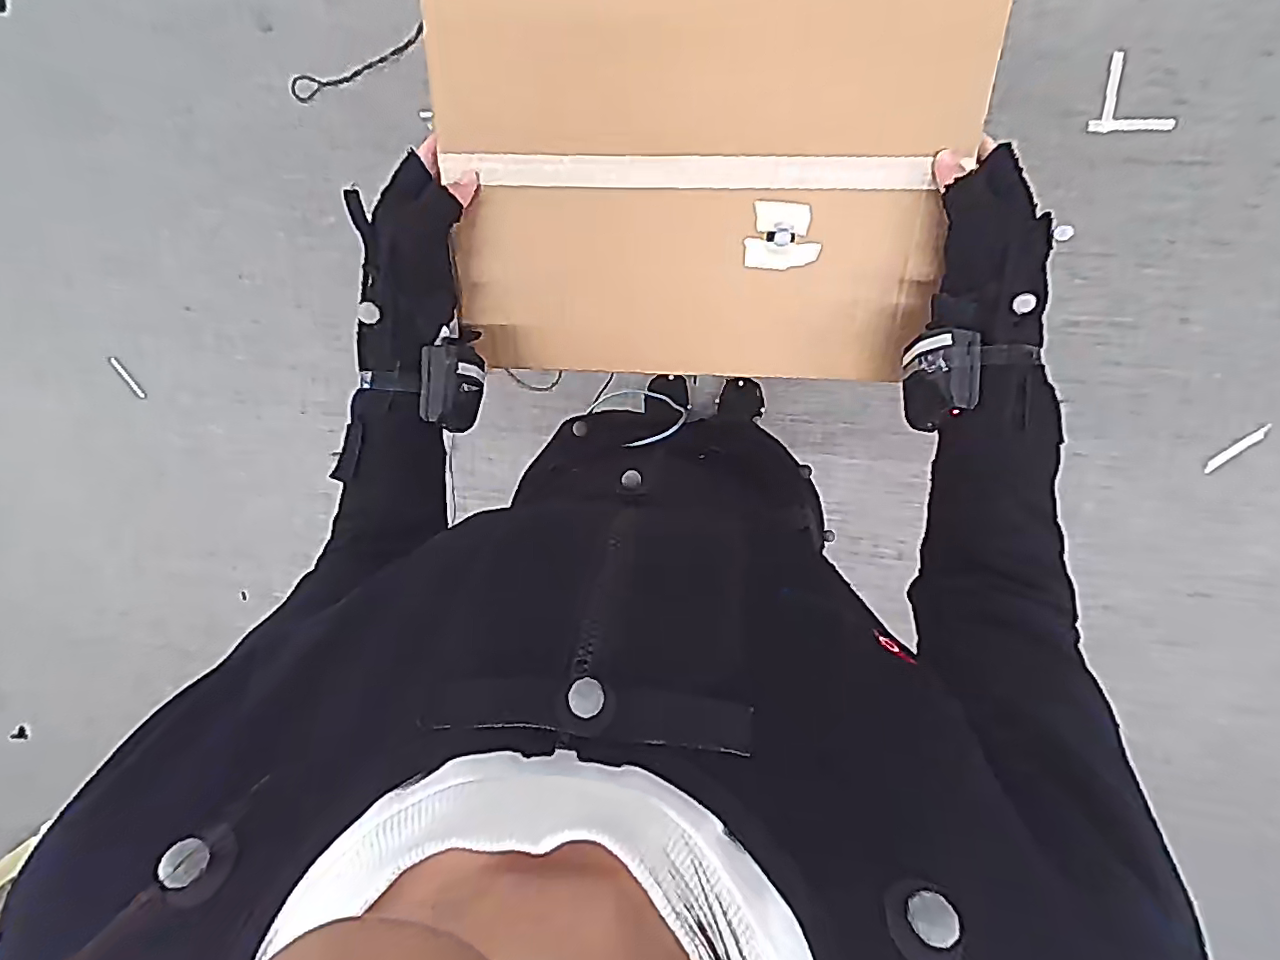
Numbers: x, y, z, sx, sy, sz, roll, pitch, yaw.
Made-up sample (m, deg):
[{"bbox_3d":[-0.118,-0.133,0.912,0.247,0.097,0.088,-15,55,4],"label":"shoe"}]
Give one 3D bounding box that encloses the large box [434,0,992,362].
[{"bbox_3d":[0.054,-0.306,0.561,0.408,0.320,0.320,2,114,2],"label":"large box"}]
